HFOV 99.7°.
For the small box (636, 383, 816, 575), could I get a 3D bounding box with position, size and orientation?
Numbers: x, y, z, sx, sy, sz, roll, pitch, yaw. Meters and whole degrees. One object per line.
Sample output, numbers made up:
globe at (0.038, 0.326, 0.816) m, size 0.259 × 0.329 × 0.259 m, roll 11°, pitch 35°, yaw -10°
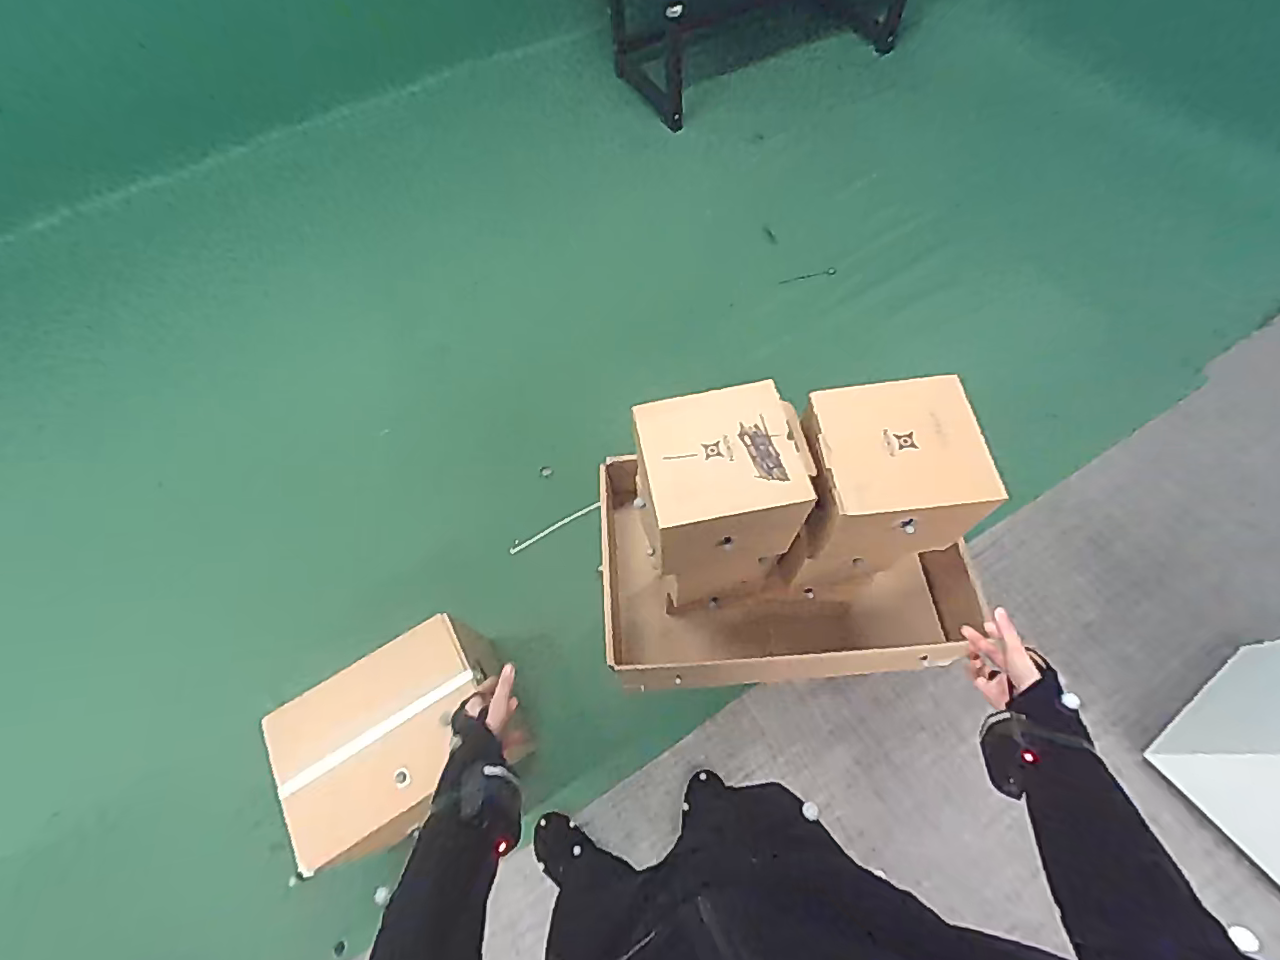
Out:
small box at (0.097, 0.006, 0.685) m, size 0.179 × 0.176 × 0.168 m, roll -11°, pitch 61°, yaw -1°
